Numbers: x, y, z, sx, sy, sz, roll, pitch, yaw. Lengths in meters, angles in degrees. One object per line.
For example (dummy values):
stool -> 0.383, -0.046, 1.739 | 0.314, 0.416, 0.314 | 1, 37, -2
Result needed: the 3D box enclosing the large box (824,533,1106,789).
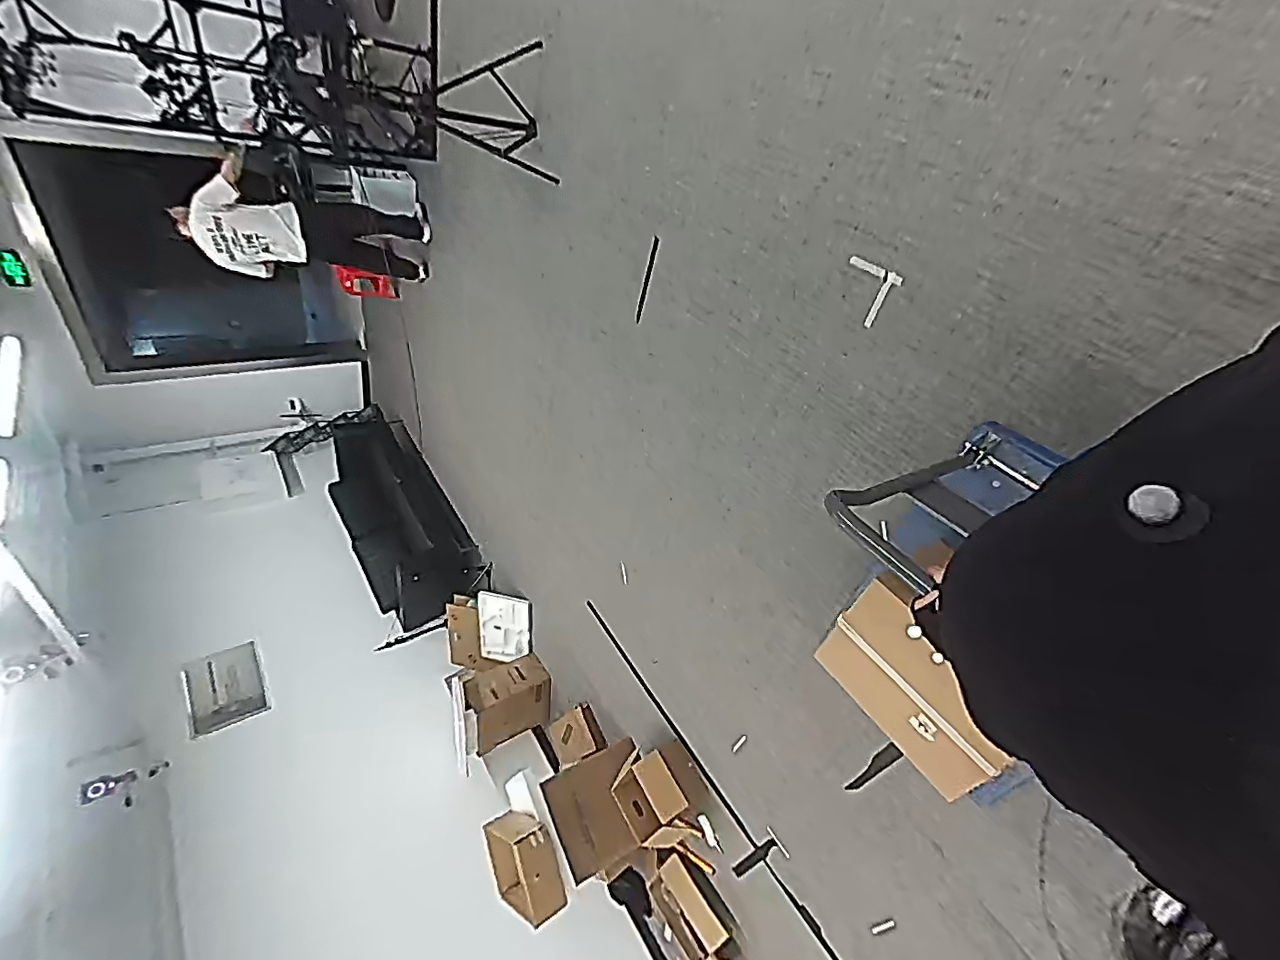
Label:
large box -> 0.727, 0.391, 1.251 | 0.408, 0.320, 0.320 | 47, 137, 32
